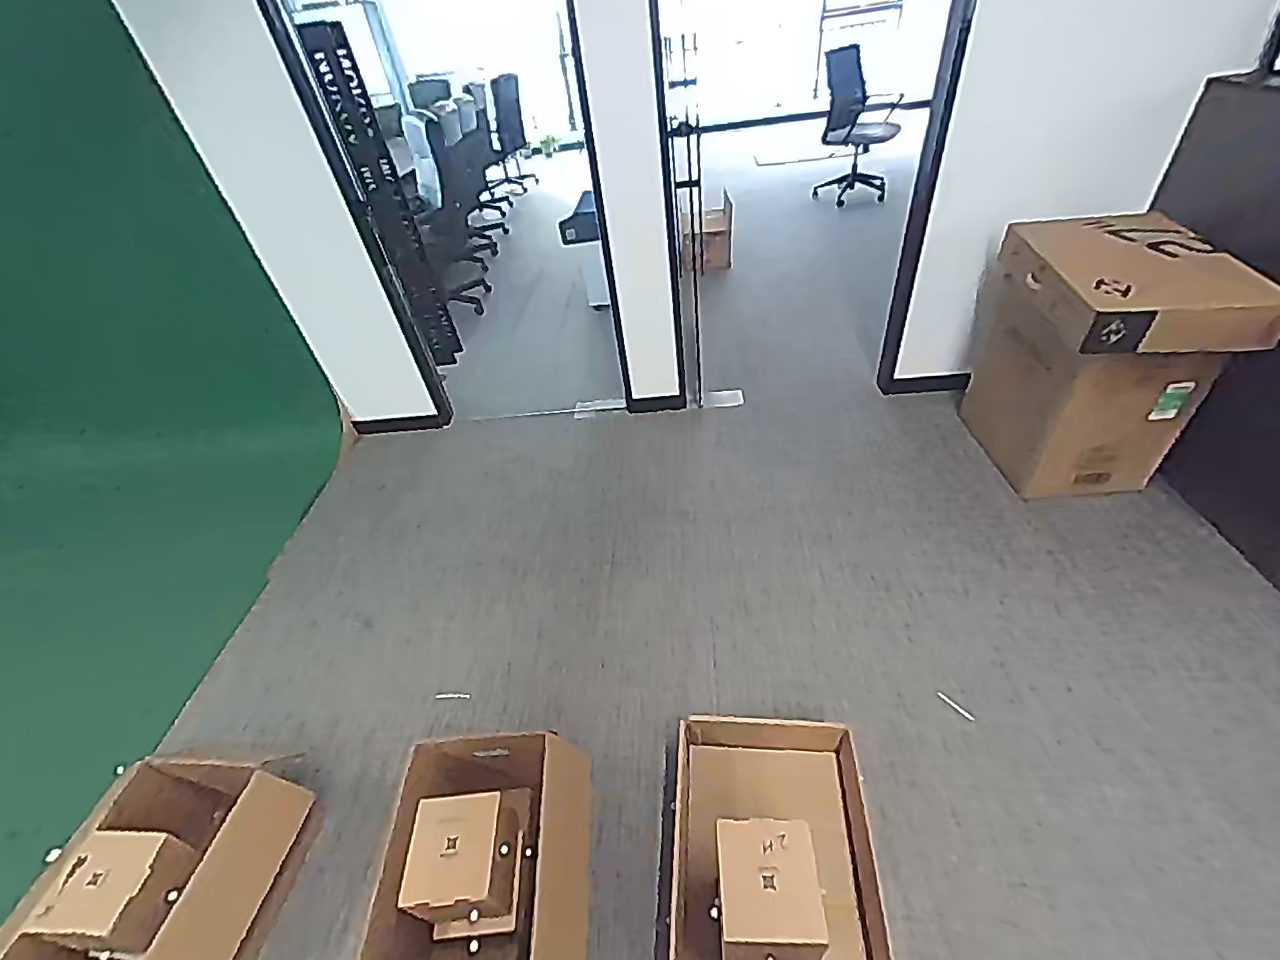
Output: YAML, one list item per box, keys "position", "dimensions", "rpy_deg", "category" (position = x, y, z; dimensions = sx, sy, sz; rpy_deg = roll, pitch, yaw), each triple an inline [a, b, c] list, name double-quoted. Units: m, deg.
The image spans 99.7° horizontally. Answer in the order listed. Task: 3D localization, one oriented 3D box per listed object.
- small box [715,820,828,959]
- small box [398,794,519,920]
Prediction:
- position: [0.222, 0.727, 0.953]
  dimensions: [0.168, 0.176, 0.179]
  rpy_deg: [-3, 39, 5]
  category: "small box"
- position: [-0.345, 0.749, 1.069]
  dimensions: [0.168, 0.176, 0.179]
  rpy_deg: [-6, 43, 1]
  category: "small box"
